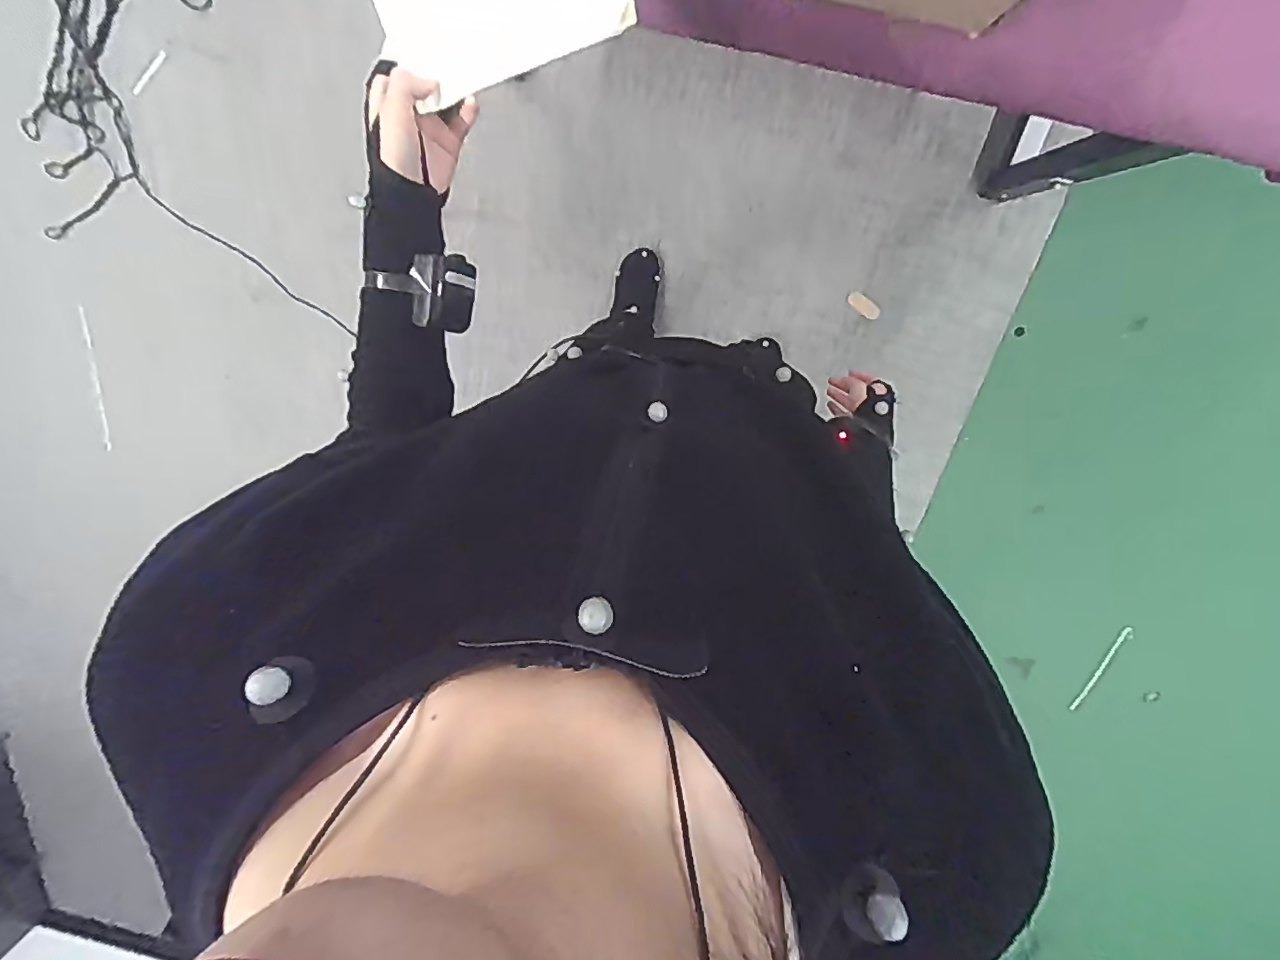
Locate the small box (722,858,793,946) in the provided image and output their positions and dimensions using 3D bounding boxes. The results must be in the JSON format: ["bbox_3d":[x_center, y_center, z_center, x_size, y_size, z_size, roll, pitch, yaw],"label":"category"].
[{"bbox_3d":[0.330,1.223,1.543,0.179,0.176,0.168,4,109,7],"label":"small box"}]

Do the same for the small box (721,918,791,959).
[{"bbox_3d":[0.298,1.282,1.393,0.168,0.176,0.179,5,110,6],"label":"small box"}]
